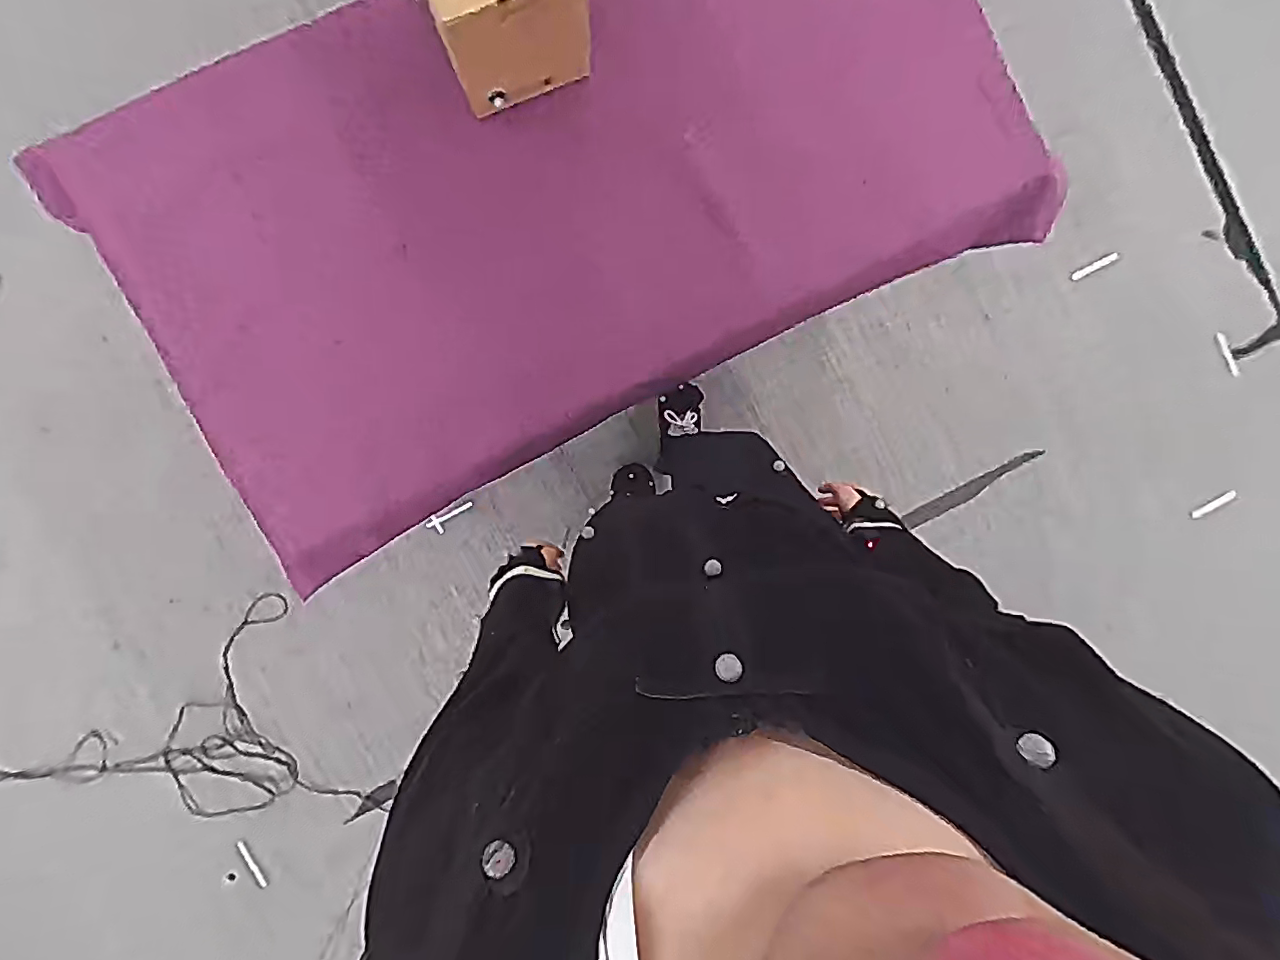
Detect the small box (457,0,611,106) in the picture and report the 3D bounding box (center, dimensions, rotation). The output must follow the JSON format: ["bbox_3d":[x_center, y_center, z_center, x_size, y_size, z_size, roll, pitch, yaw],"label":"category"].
[{"bbox_3d":[-0.136,-0.589,0.643,0.168,0.176,0.179,-21,94,-3],"label":"small box"}]
